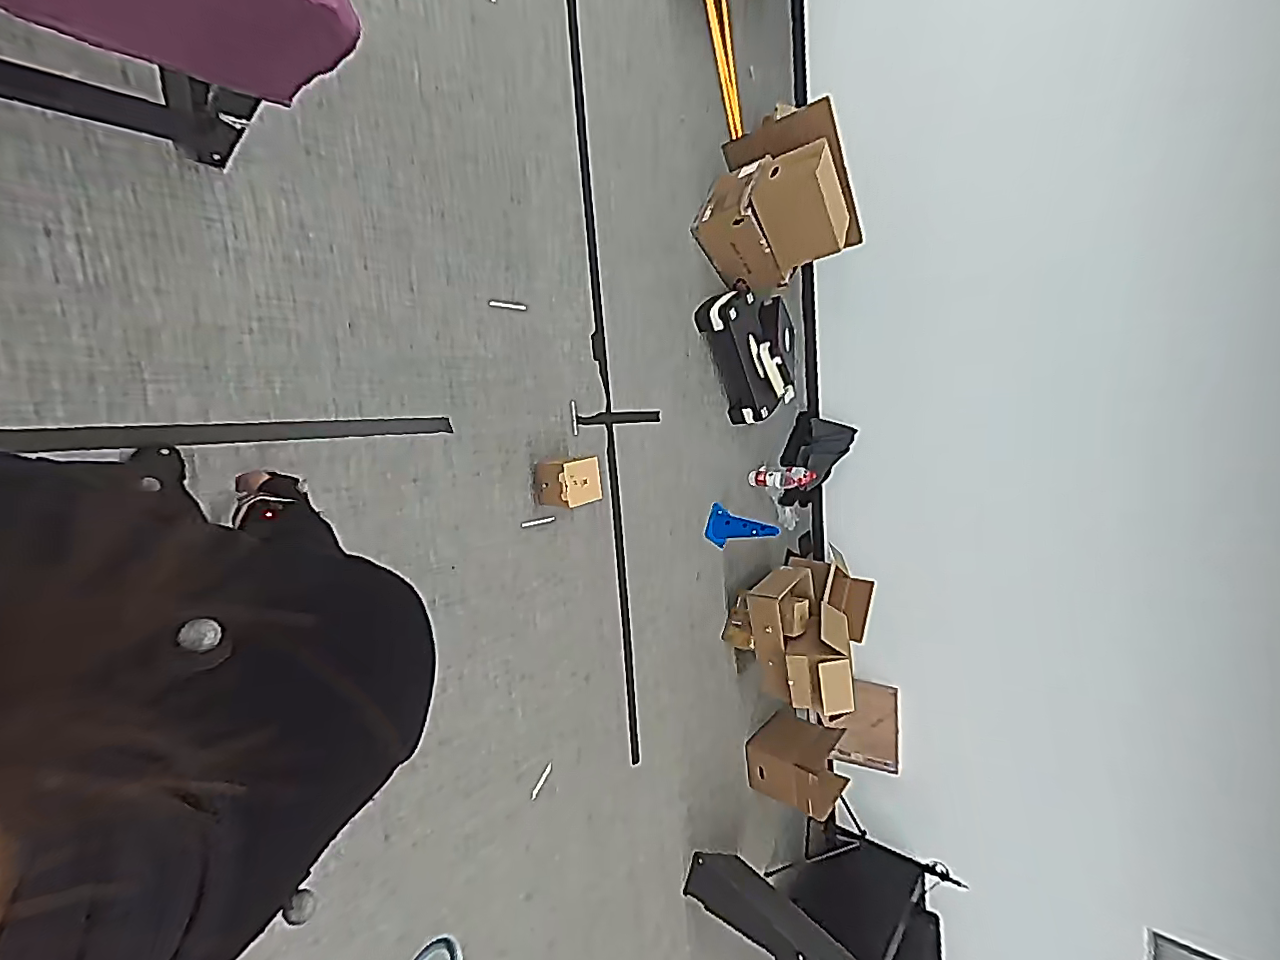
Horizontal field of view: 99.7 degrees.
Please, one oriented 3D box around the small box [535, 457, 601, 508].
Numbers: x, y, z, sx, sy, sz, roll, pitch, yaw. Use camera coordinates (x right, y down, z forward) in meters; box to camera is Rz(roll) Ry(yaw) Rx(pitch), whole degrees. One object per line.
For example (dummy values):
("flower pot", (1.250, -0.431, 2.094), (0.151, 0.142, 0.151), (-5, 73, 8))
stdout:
("small box", (-0.275, 0.005, 2.058), (0.179, 0.176, 0.168), (-15, 103, -45))
